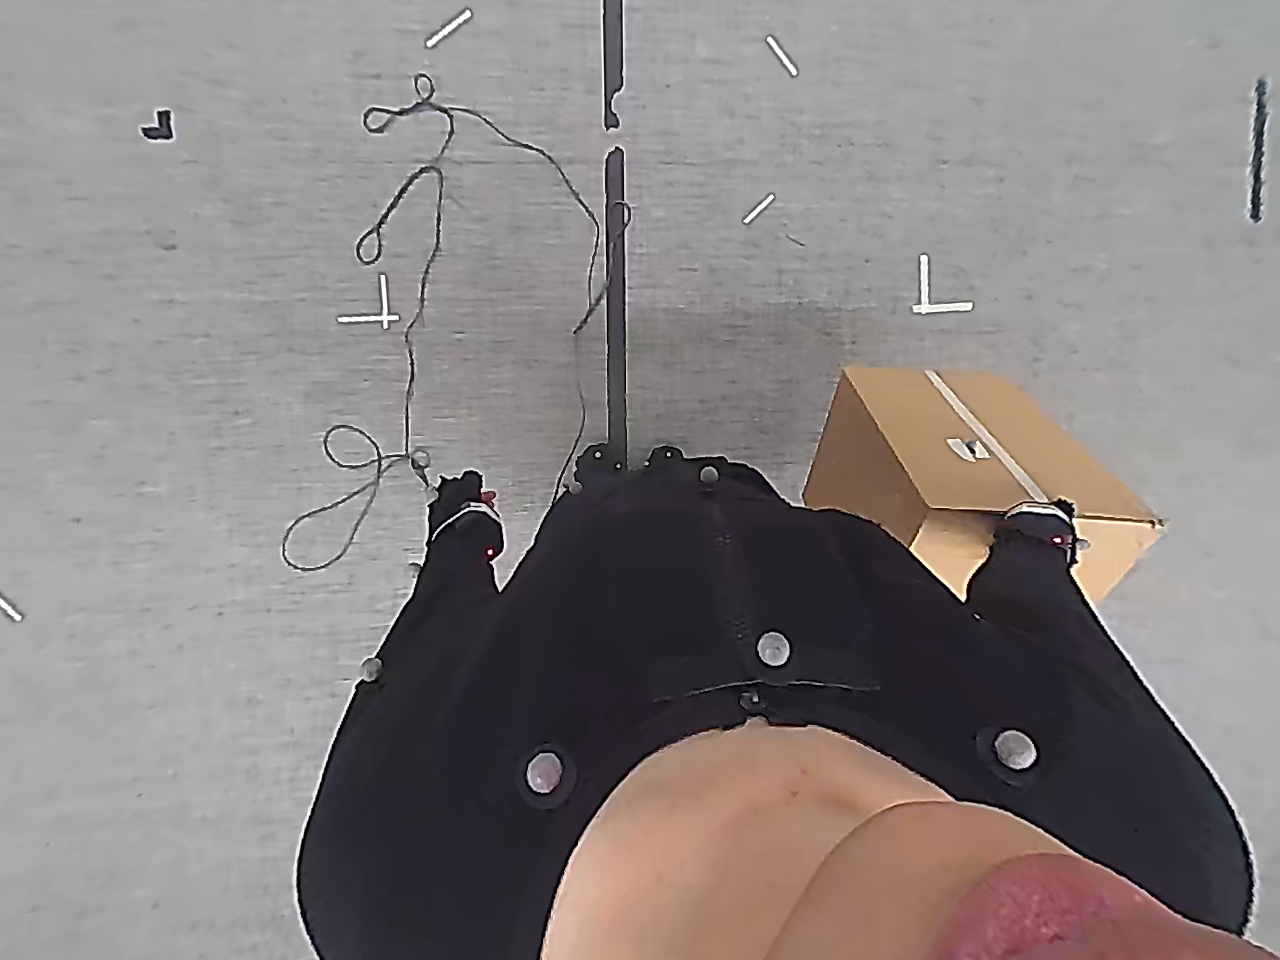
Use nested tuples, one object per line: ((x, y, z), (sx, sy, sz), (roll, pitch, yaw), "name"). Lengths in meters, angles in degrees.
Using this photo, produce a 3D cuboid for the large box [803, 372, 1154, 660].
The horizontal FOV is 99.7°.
((0.519, 0.050, 0.954), (0.320, 0.408, 0.320), (4, 129, -2), "large box")
